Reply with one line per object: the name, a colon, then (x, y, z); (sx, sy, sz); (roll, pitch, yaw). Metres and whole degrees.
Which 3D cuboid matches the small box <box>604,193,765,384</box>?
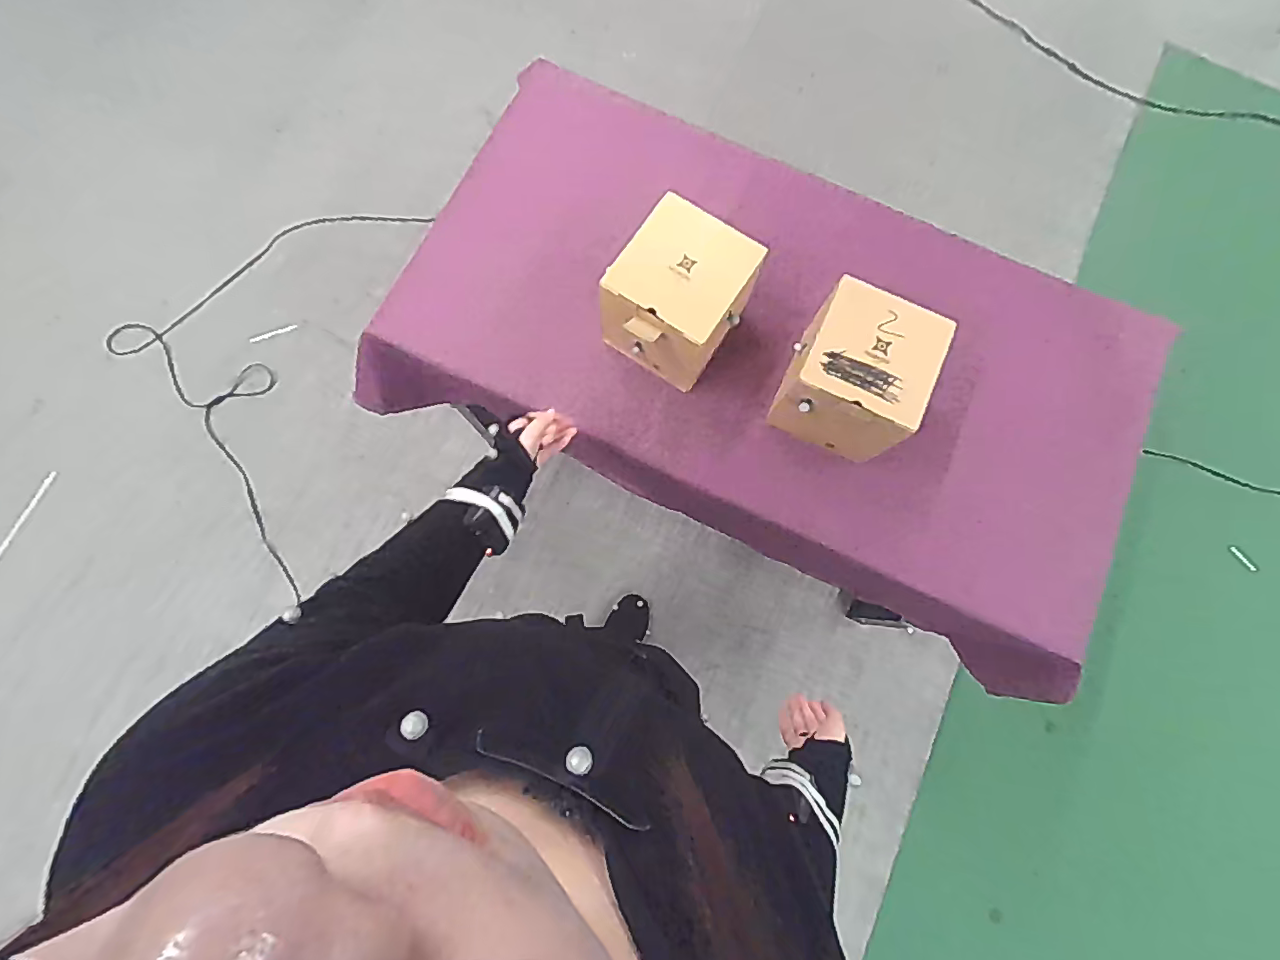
small box: (0.058, -0.280, 0.822); (0.168, 0.176, 0.179); (33, 80, 5)
